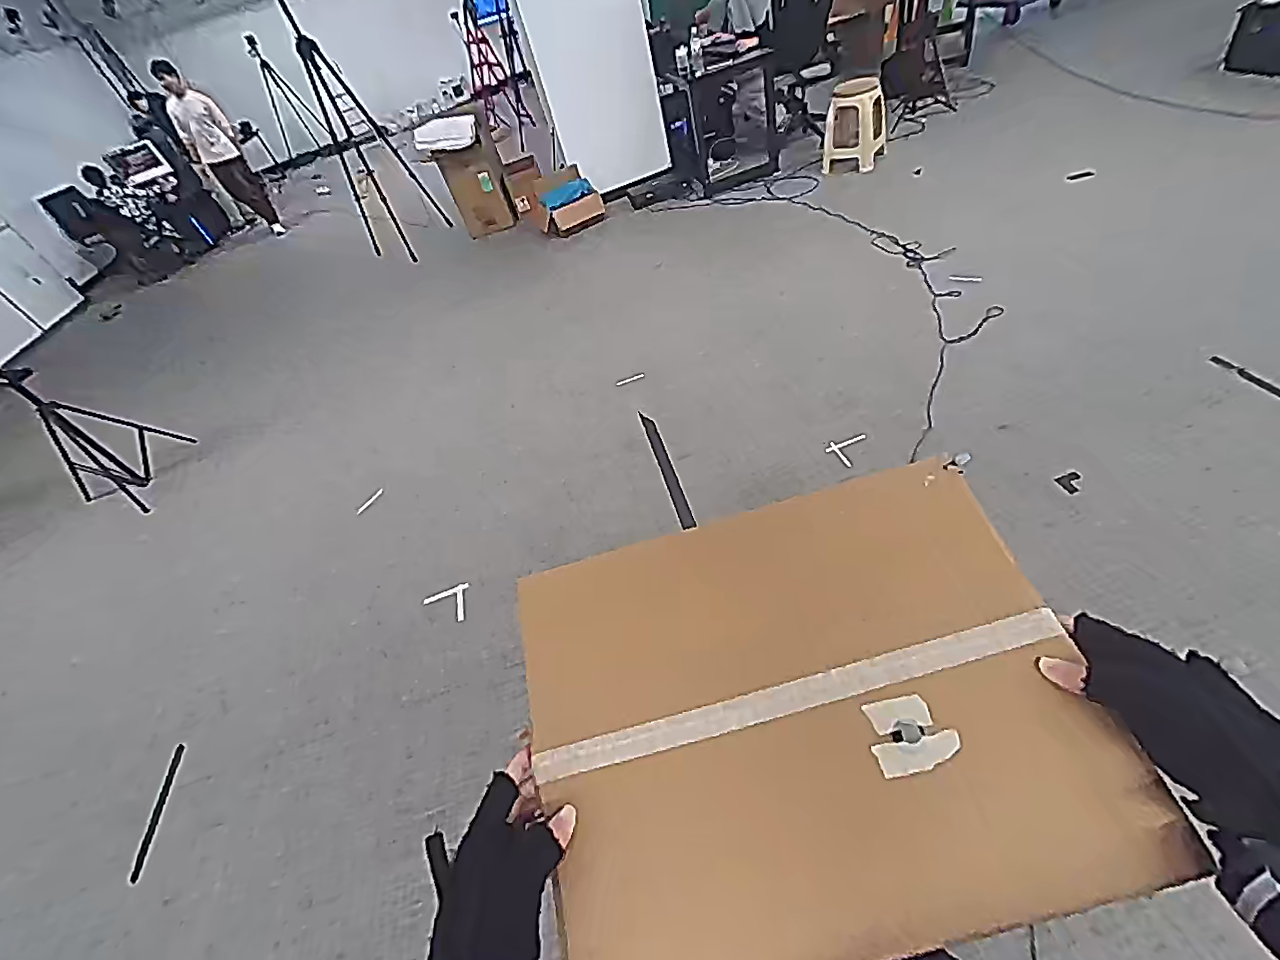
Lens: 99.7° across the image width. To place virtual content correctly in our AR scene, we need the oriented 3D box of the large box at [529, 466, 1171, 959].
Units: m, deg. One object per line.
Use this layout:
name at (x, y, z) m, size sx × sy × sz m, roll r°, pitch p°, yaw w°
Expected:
large box at (0.143, 0.244, 0.554) m, size 0.408 × 0.320 × 0.320 m, roll -17°, pitch 59°, yaw 2°
